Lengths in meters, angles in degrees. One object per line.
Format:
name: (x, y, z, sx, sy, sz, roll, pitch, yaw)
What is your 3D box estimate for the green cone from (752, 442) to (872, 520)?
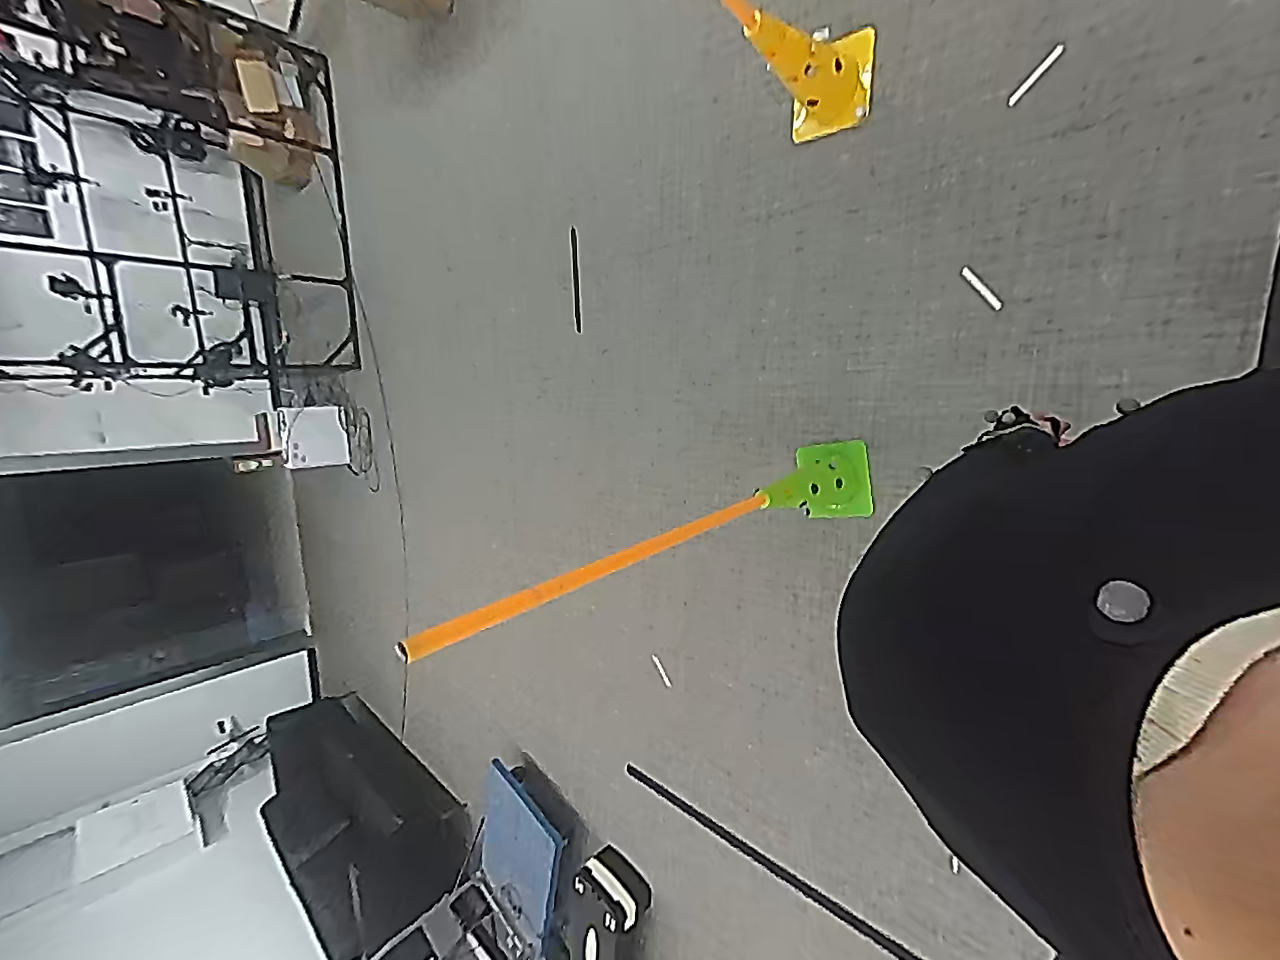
green cone: (0.397, 0.023, 1.331, 0.200, 0.368, 0.202, -6, 91, 46)
